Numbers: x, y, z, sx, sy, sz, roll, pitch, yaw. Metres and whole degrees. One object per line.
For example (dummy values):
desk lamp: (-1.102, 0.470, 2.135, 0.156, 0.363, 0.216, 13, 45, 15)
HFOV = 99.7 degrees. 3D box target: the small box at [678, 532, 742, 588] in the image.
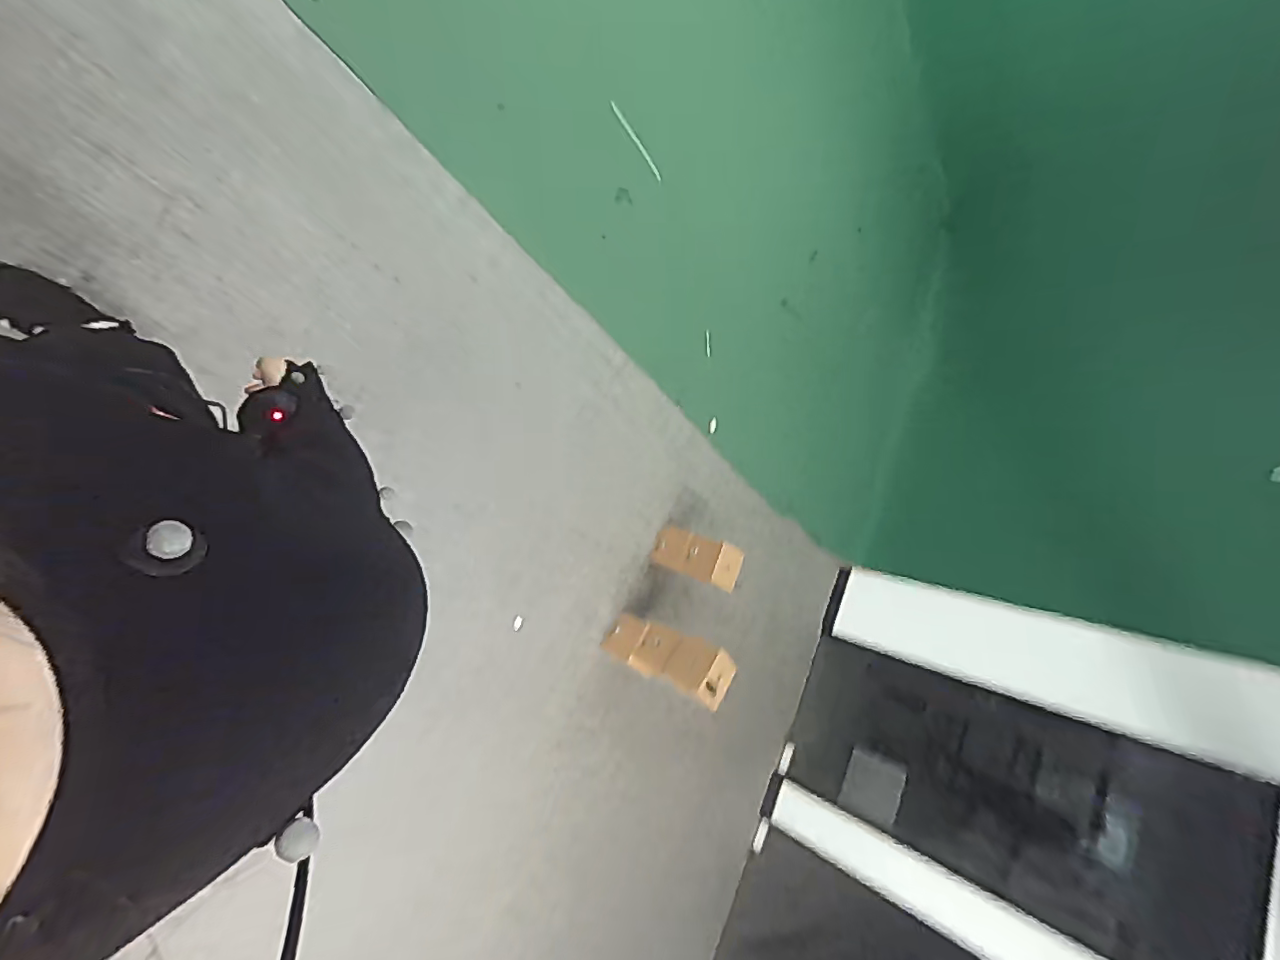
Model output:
small box: (0.286, 0.325, 2.217, 0.179, 0.176, 0.168, 33, 73, -44)

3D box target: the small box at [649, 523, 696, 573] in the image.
small box: (0.170, 0.296, 2.326, 0.179, 0.176, 0.168, 33, 74, -45)

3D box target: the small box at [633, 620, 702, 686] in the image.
small box: (0.103, 0.661, 2.091, 0.168, 0.176, 0.179, -55, 131, -24)

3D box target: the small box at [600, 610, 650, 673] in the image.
small box: (-0.028, 0.650, 2.189, 0.179, 0.176, 0.168, 50, 62, -39)
